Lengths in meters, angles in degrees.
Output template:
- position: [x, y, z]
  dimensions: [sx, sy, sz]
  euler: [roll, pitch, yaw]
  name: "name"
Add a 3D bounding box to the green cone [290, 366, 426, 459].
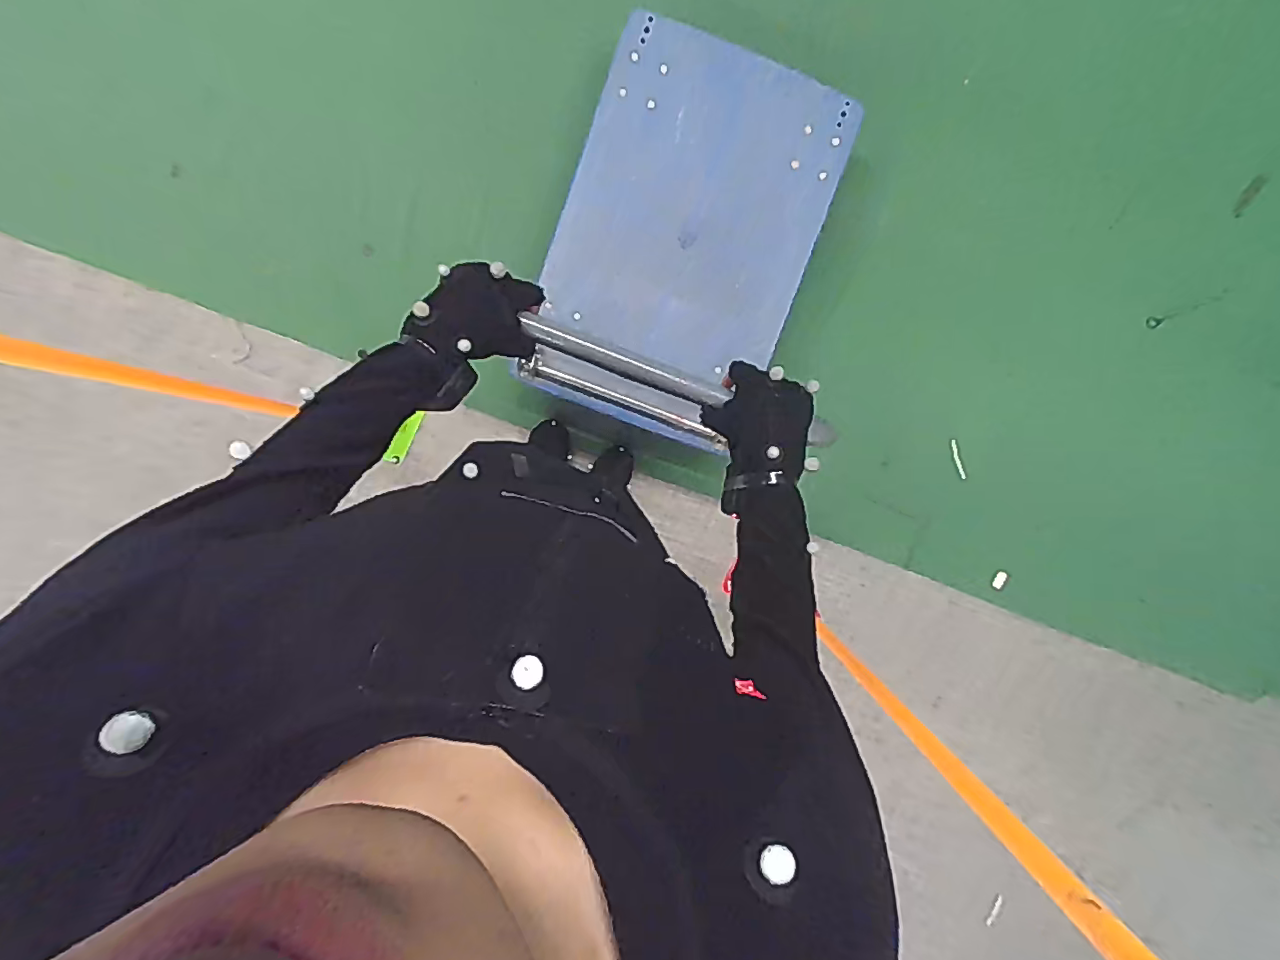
- position: [-0.683, -0.163, 1.260]
  dimensions: [0.202, 0.368, 0.200]
  euler: [25, 94, -4]
  name: "green cone"
